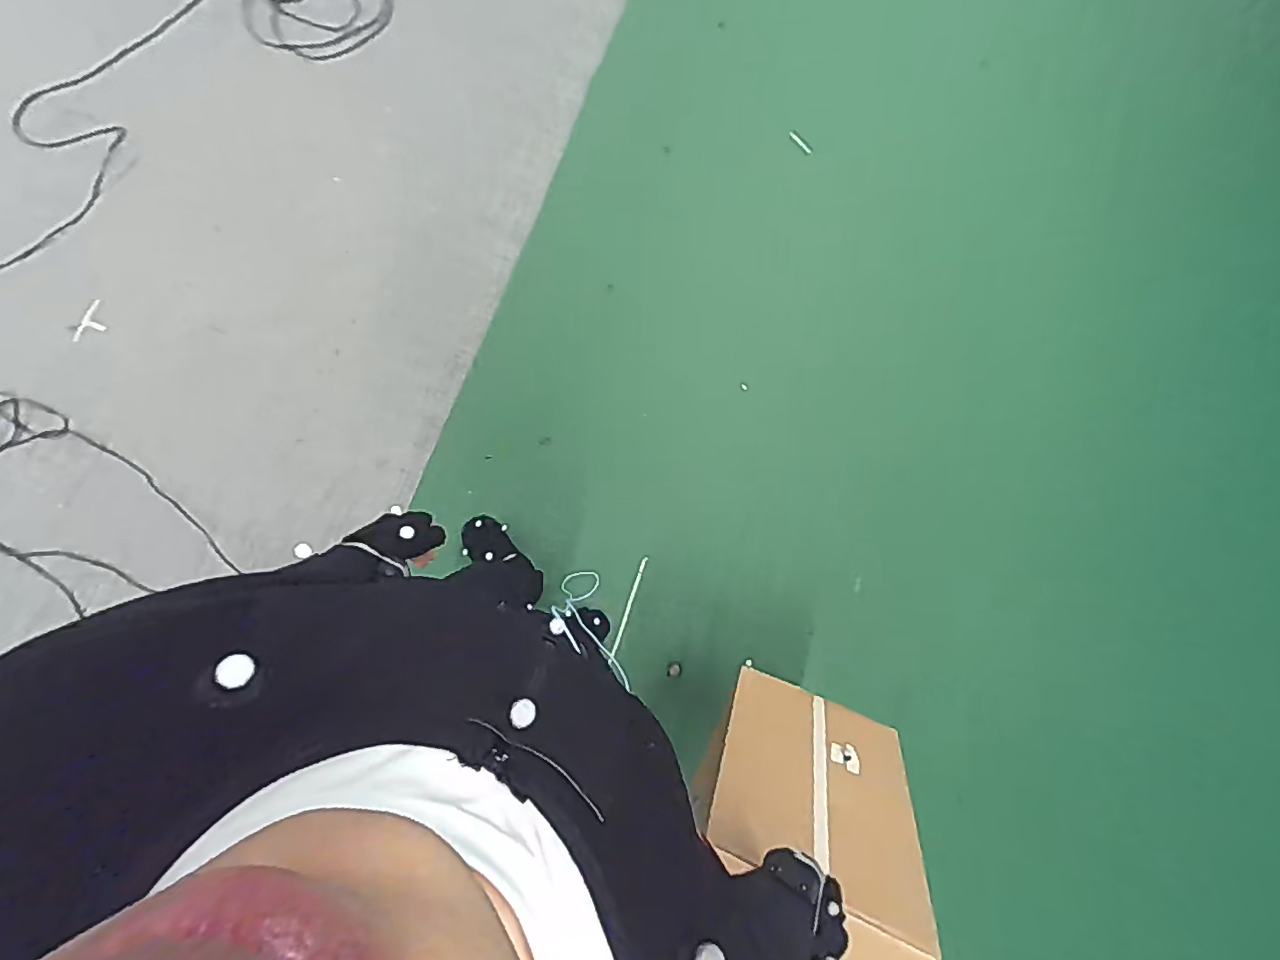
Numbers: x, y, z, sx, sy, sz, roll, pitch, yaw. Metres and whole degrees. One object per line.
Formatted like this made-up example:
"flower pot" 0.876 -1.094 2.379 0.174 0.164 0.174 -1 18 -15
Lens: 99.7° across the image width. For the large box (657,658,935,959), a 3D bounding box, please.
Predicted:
"large box" 0.252 0.603 0.947 0.320 0.408 0.320 21 111 10
